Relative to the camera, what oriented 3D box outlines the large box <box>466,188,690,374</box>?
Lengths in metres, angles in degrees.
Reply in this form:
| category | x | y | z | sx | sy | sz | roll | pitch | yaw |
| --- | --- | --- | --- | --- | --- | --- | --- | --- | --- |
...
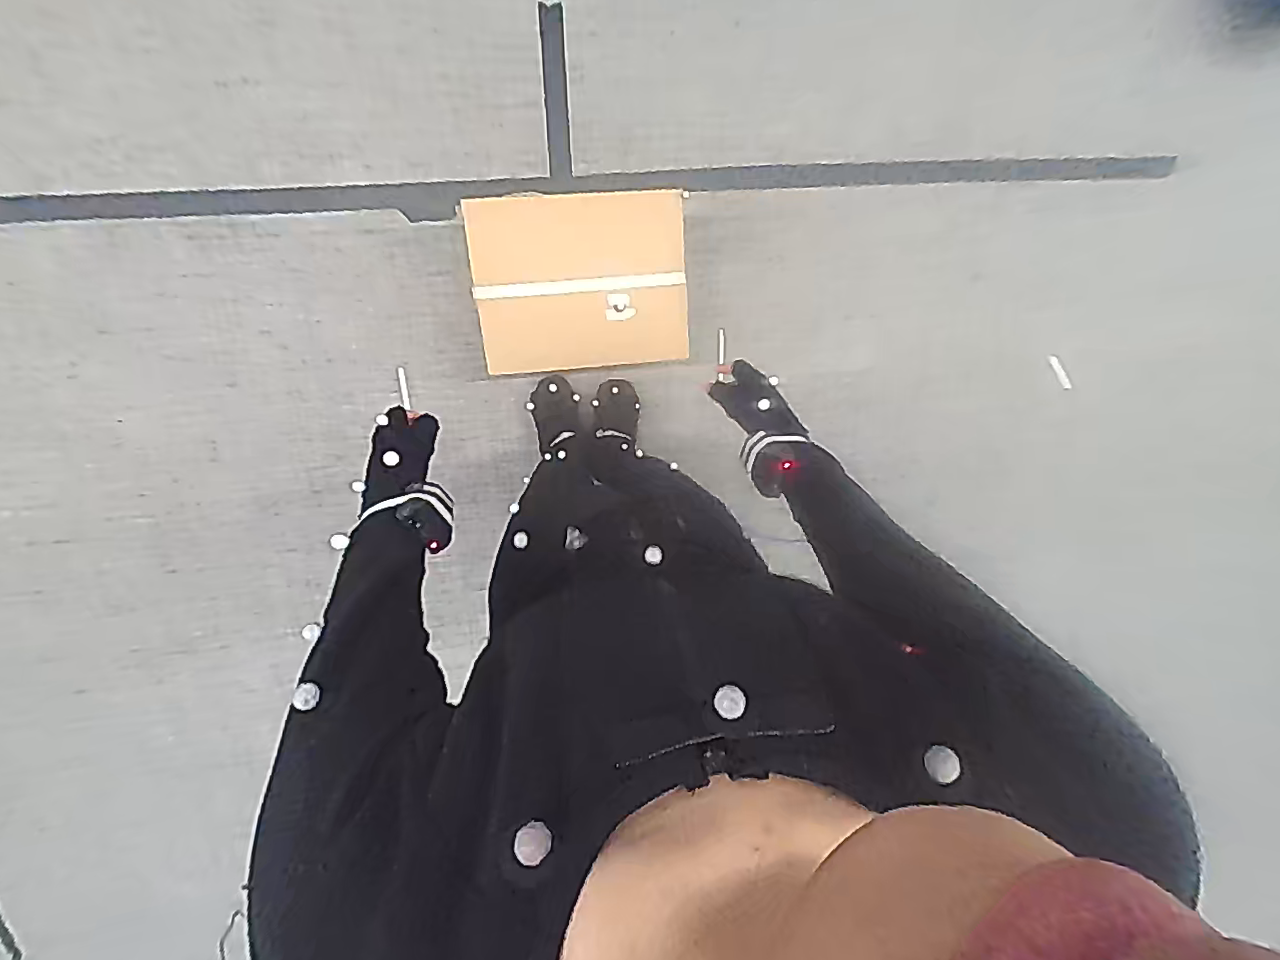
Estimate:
| category | x | y | z | sx | sy | sz | roll | pitch | yaw |
| --- | --- | --- | --- | --- | --- | --- | --- | --- | --- |
| large box | -0.129 | -0.421 | 1.173 | 0.408 | 0.320 | 0.320 | -7 | 109 | -8 |
